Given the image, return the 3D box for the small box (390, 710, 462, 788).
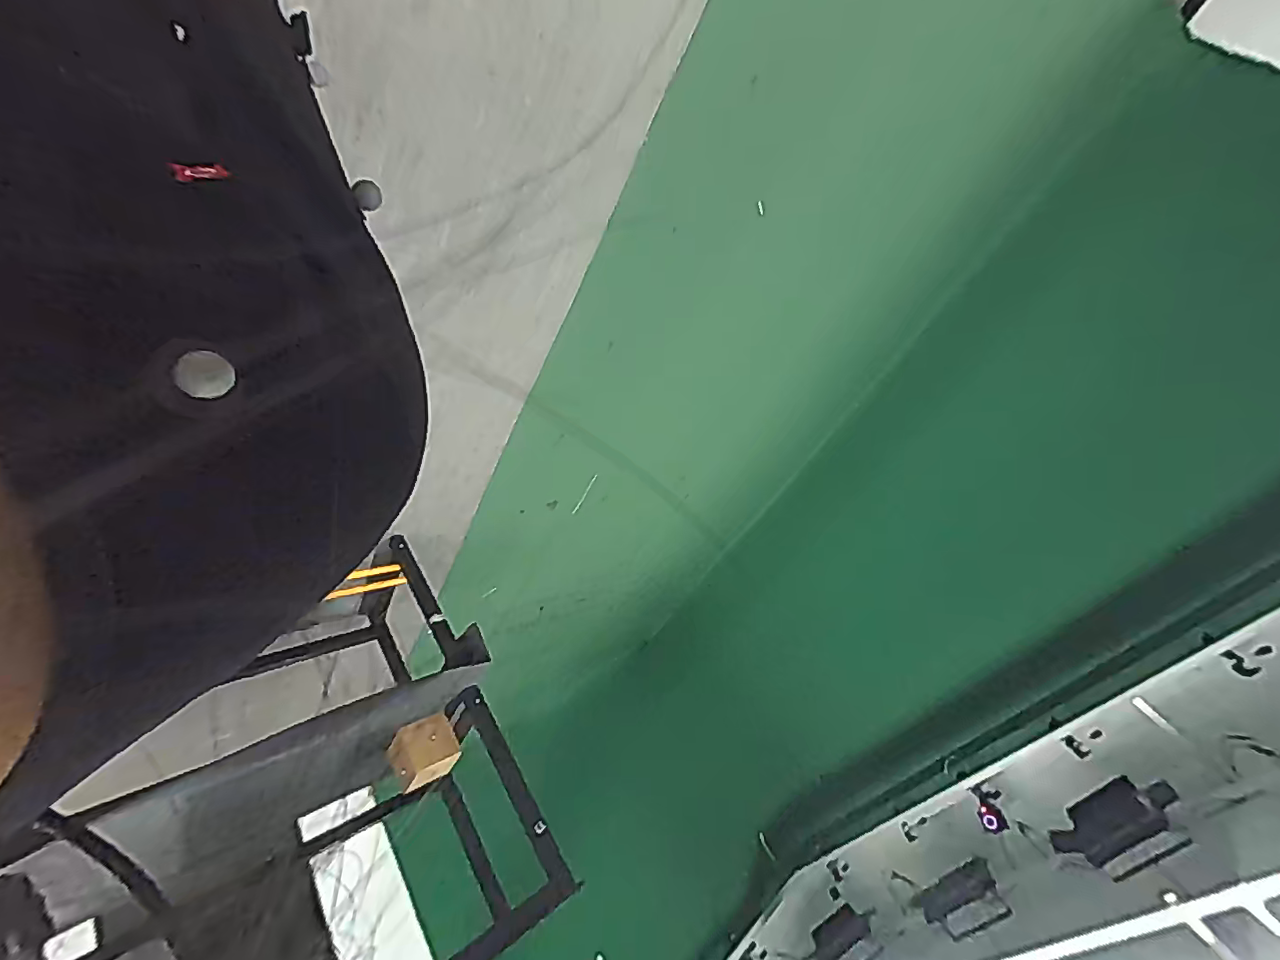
[{"bbox_3d":[-0.770,0.949,1.931,0.168,0.176,0.179,-5,138,-48],"label":"small box"}]
